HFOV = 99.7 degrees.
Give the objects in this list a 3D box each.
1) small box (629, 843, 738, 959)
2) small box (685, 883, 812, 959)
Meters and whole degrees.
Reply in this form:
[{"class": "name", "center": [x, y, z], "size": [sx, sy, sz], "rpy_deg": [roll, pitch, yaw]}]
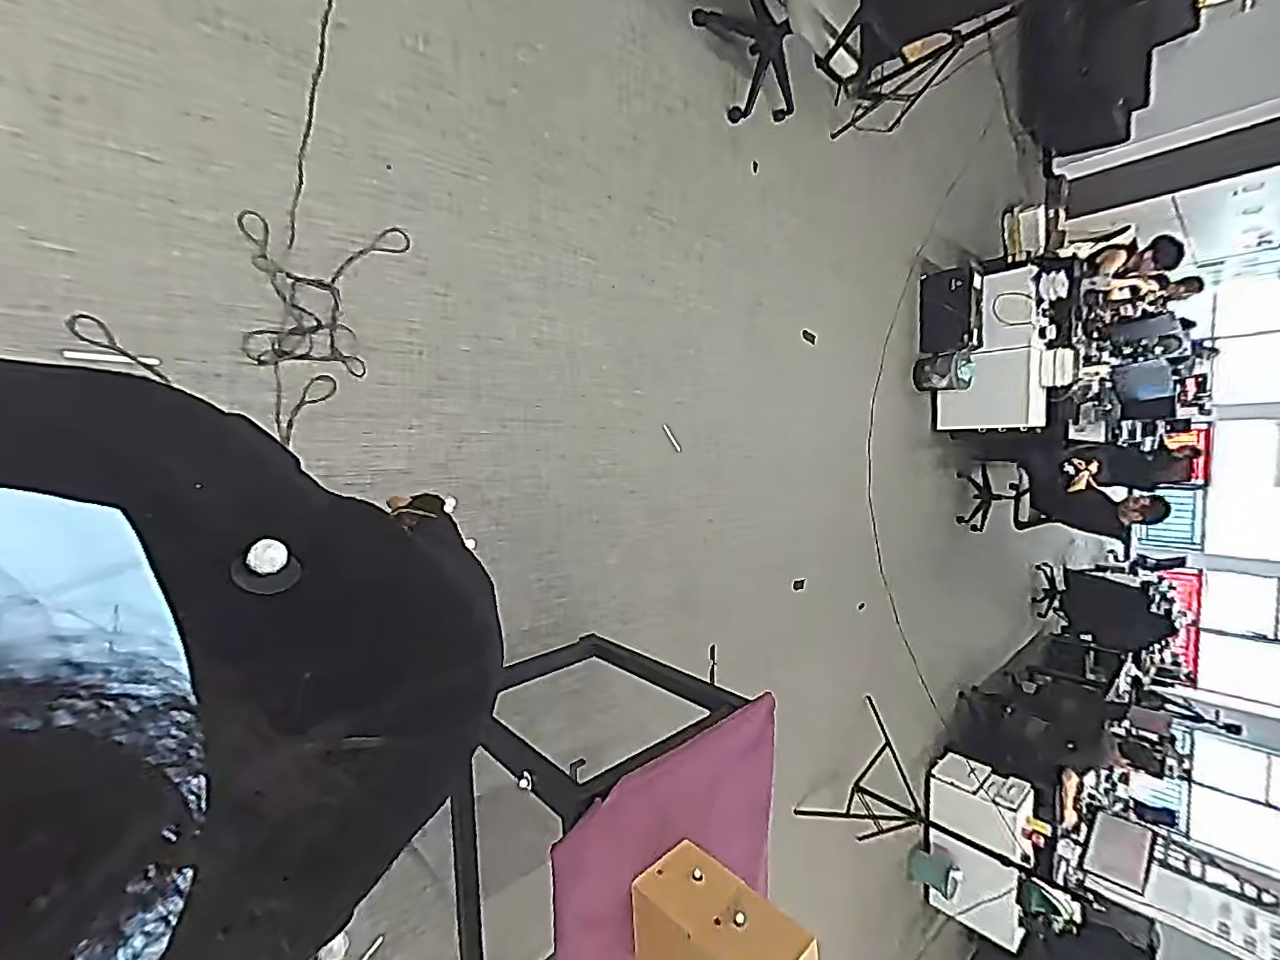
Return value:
[{"class": "small box", "center": [0.090, 0.897, 1.118], "size": [0.168, 0.176, 0.179], "rpy_deg": [-9, 99, -42]}, {"class": "small box", "center": [0.197, 0.907, 0.994], "size": [0.168, 0.176, 0.179], "rpy_deg": [-9, 98, -42]}]
